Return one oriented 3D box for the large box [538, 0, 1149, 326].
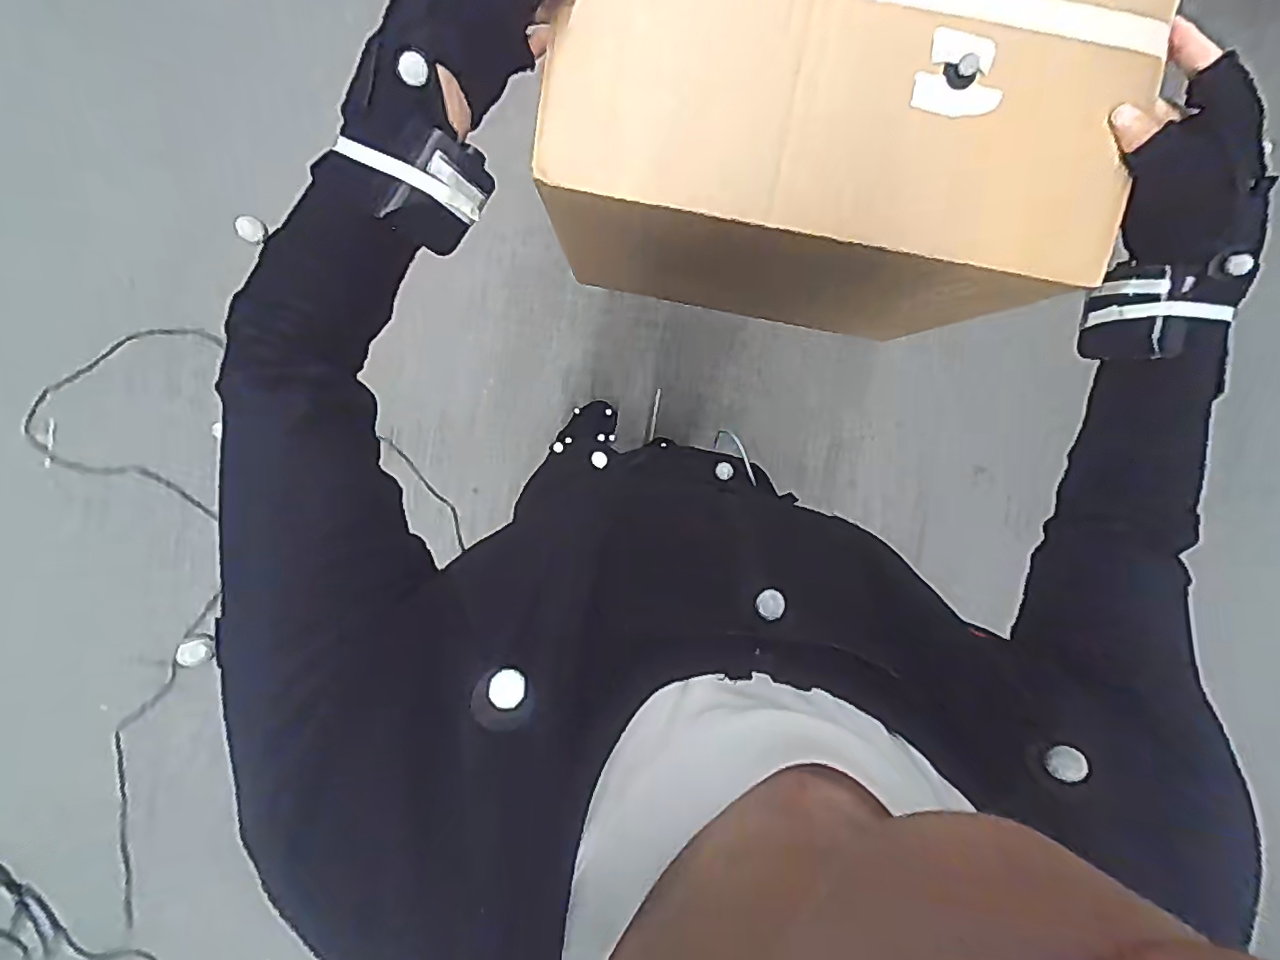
[{"bbox_3d":[0.139,-0.349,0.510,0.408,0.320,0.320,9,98,-2],"label":"large box"}]
